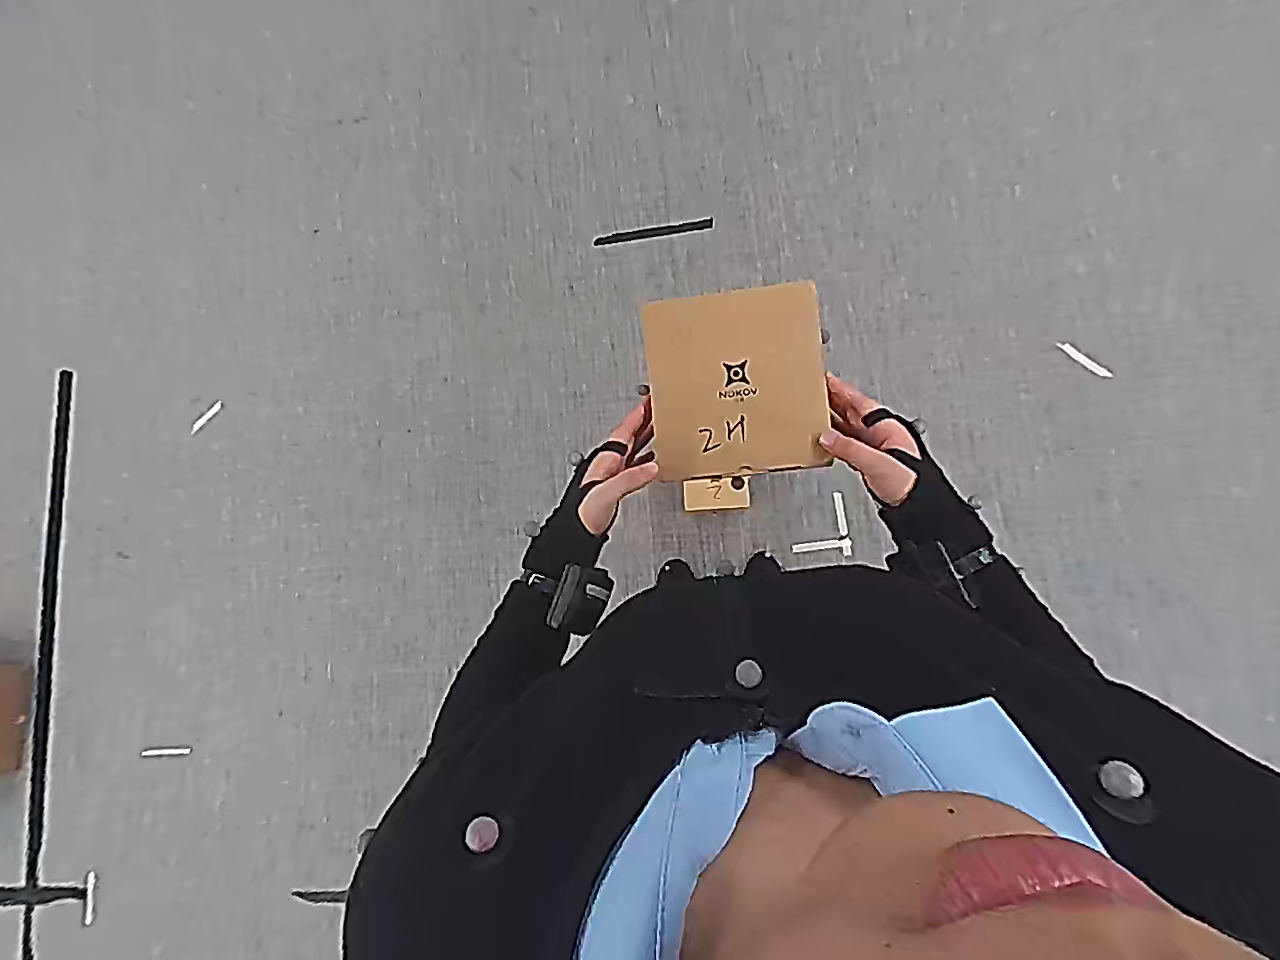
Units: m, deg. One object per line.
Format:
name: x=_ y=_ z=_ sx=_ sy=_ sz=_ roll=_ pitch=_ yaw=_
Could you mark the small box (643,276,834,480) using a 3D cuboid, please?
small box: x=0.098 y=-0.094 z=0.582 sx=0.168 sy=0.176 sz=0.179 roll=-6 pitch=89 yaw=7
